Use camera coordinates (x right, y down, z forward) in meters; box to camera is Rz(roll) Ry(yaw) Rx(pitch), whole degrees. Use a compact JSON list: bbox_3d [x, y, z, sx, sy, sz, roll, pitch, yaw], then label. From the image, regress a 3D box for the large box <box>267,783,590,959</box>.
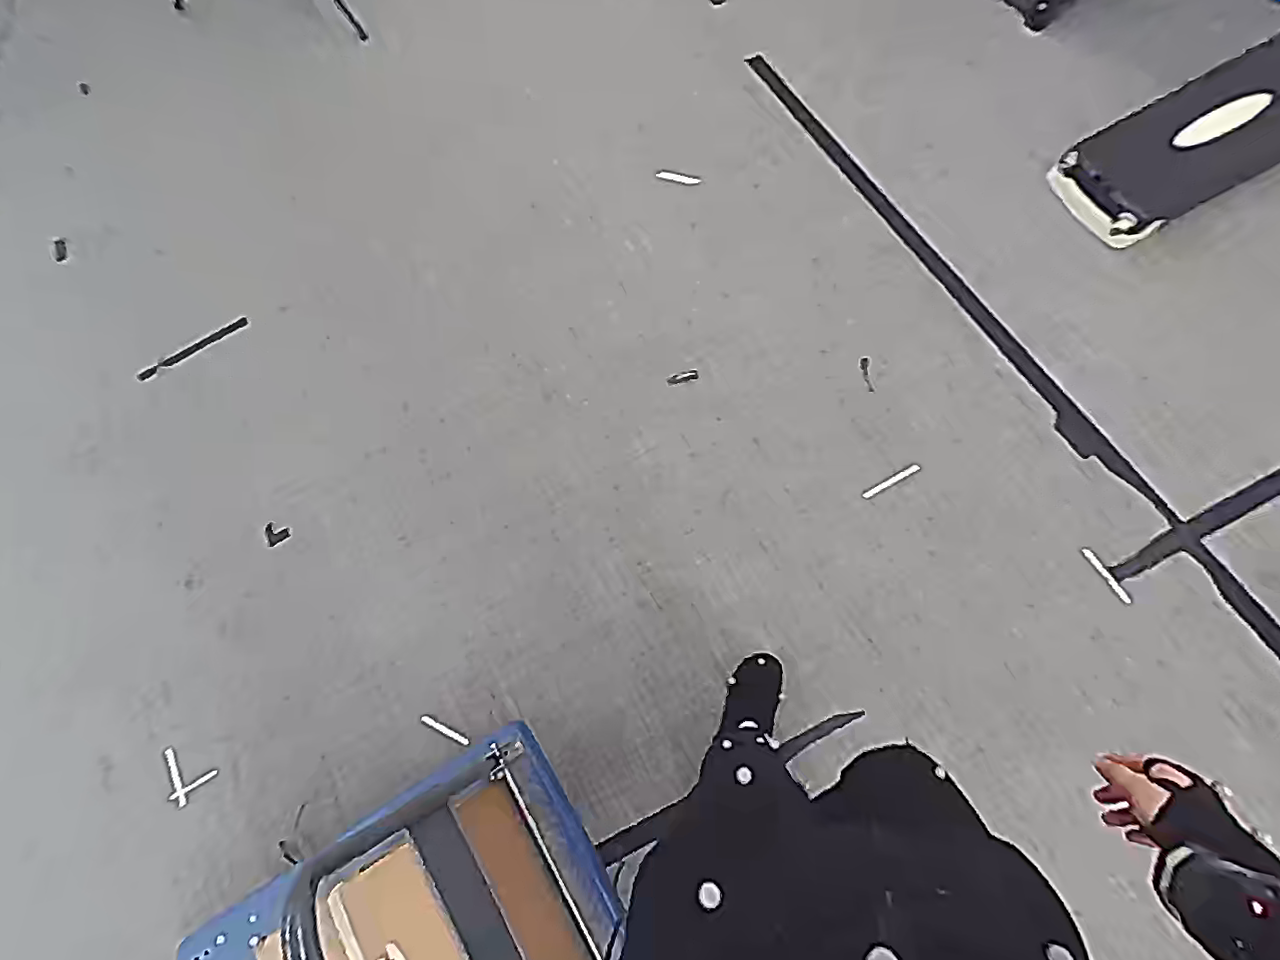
[{"bbox_3d":[-0.337,0.842,0.945,0.320,0.320,0.408,-34,73,-1],"label":"large box"}]
